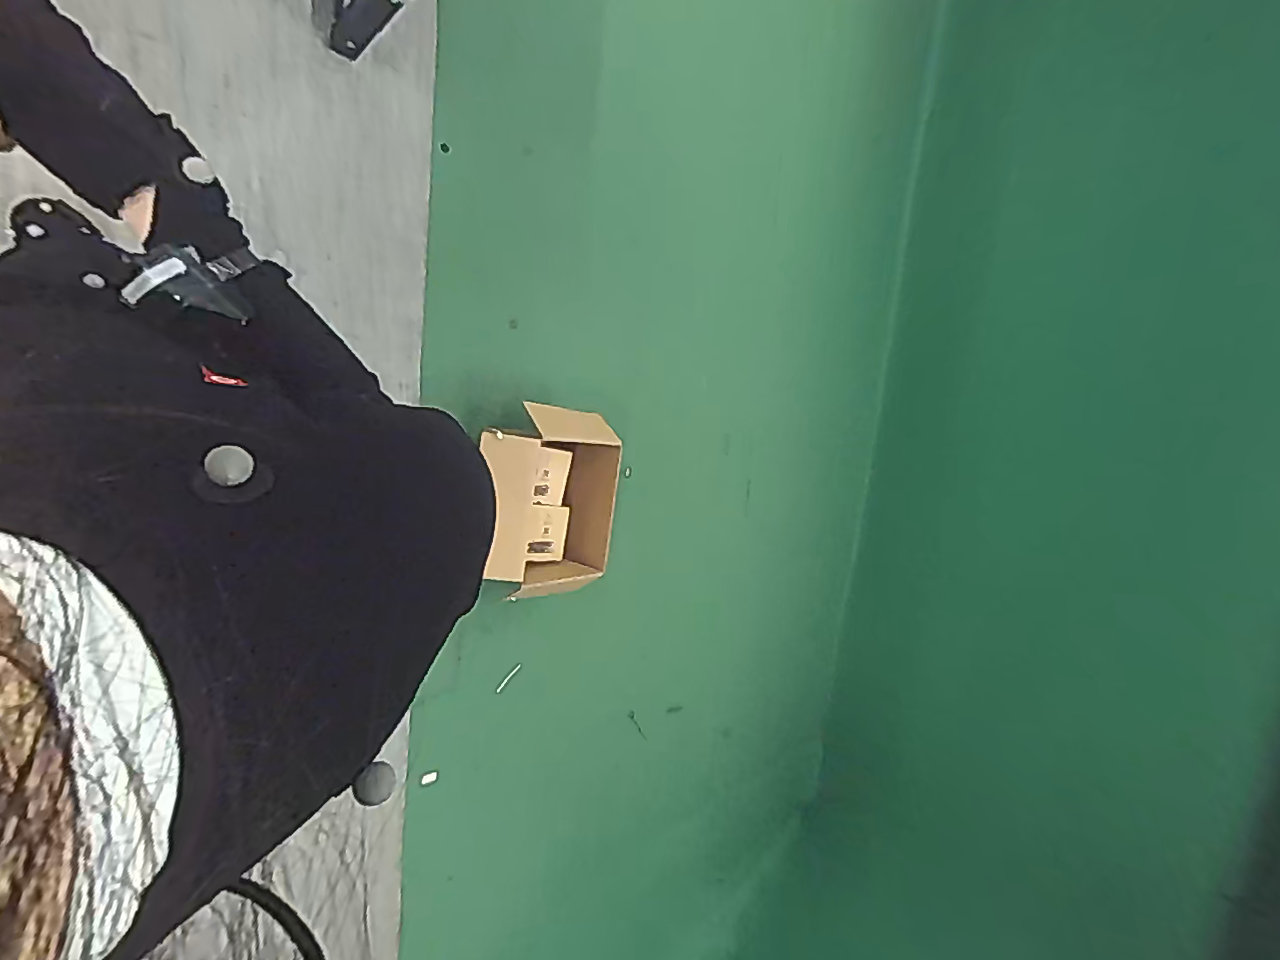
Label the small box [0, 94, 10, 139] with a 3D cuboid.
[{"bbox_3d":[-0.424,-0.259,0.224,0.168,0.176,0.179,-24,121,-38],"label":"small box"}]
